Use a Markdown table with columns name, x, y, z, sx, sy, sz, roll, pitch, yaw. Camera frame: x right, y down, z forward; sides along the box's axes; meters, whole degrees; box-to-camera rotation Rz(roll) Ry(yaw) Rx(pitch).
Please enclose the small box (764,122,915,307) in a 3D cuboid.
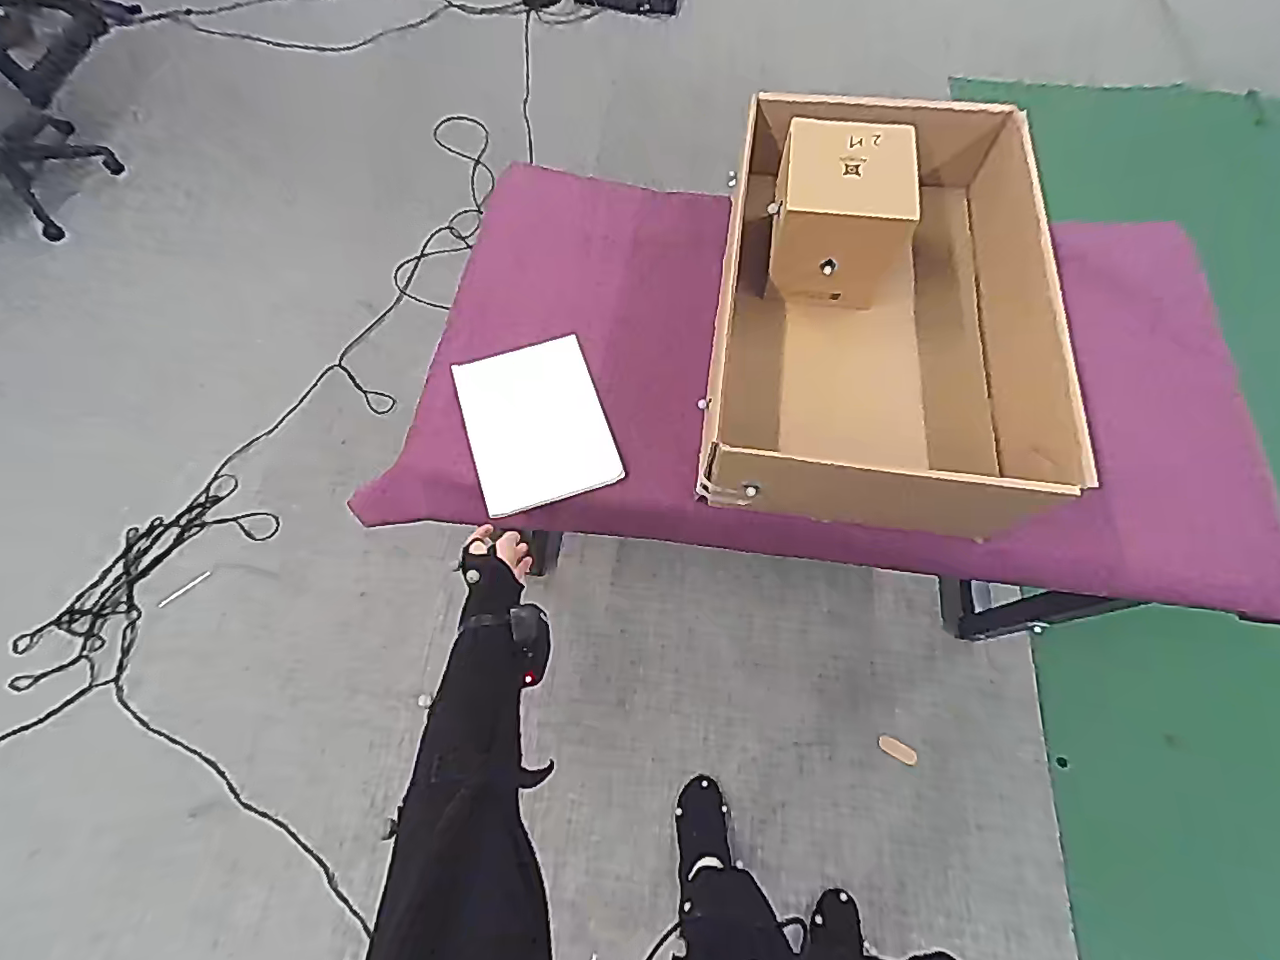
| name | x | y | z | sx | sy | sz | roll | pitch | yaw |
| --- | --- | --- | --- | --- | --- | --- | --- | --- | --- |
| small box | 0.277 | -0.374 | 0.781 | 0.168 | 0.176 | 0.179 | 7 | 68 | 5 |
